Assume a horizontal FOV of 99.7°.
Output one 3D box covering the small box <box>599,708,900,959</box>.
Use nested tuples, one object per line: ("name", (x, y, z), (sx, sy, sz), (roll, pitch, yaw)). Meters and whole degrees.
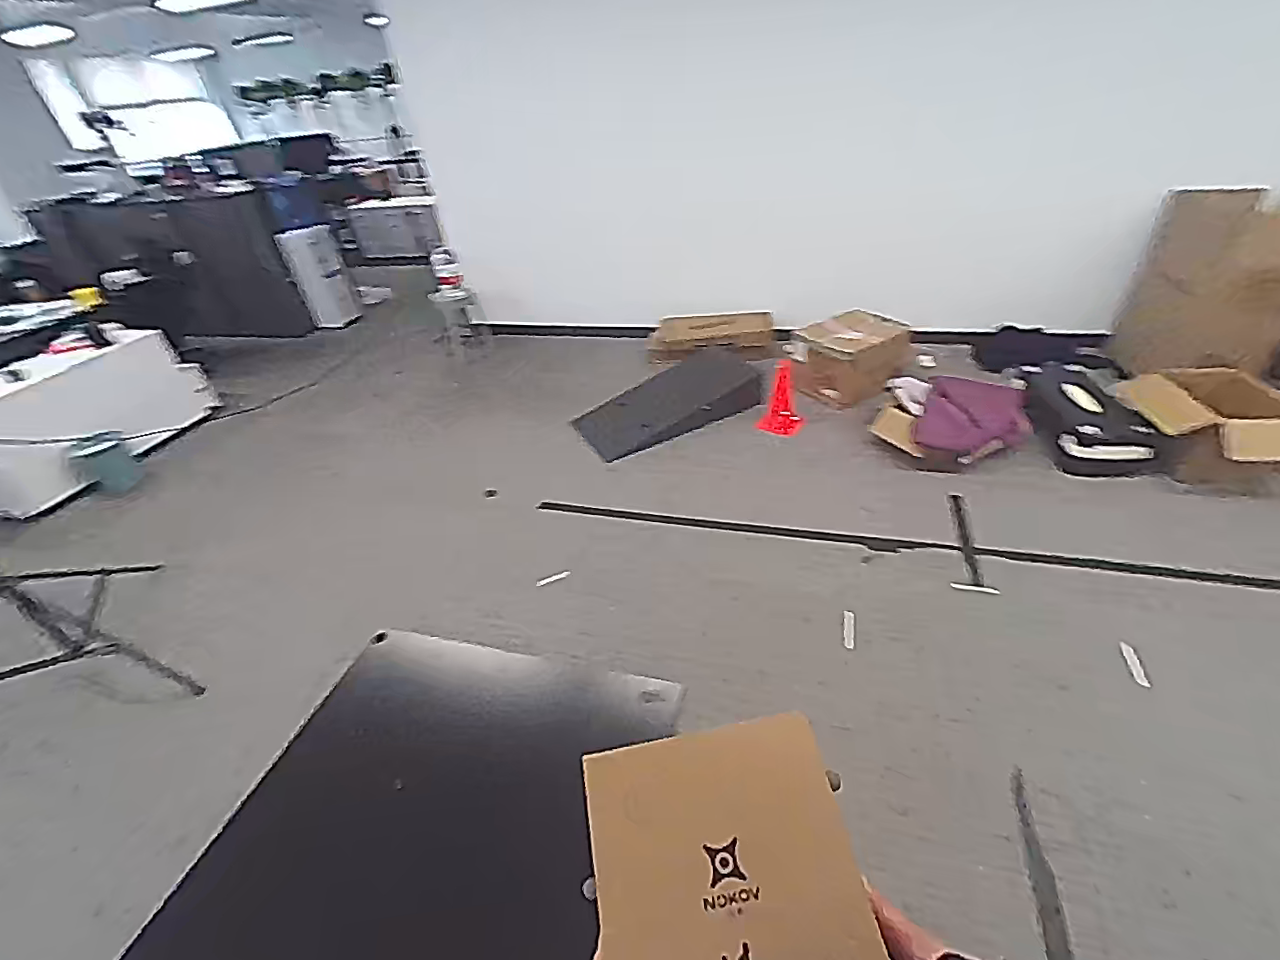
("small box", (0.069, 0.295, 0.406), (0.168, 0.176, 0.179), (-12, 54, 0))
